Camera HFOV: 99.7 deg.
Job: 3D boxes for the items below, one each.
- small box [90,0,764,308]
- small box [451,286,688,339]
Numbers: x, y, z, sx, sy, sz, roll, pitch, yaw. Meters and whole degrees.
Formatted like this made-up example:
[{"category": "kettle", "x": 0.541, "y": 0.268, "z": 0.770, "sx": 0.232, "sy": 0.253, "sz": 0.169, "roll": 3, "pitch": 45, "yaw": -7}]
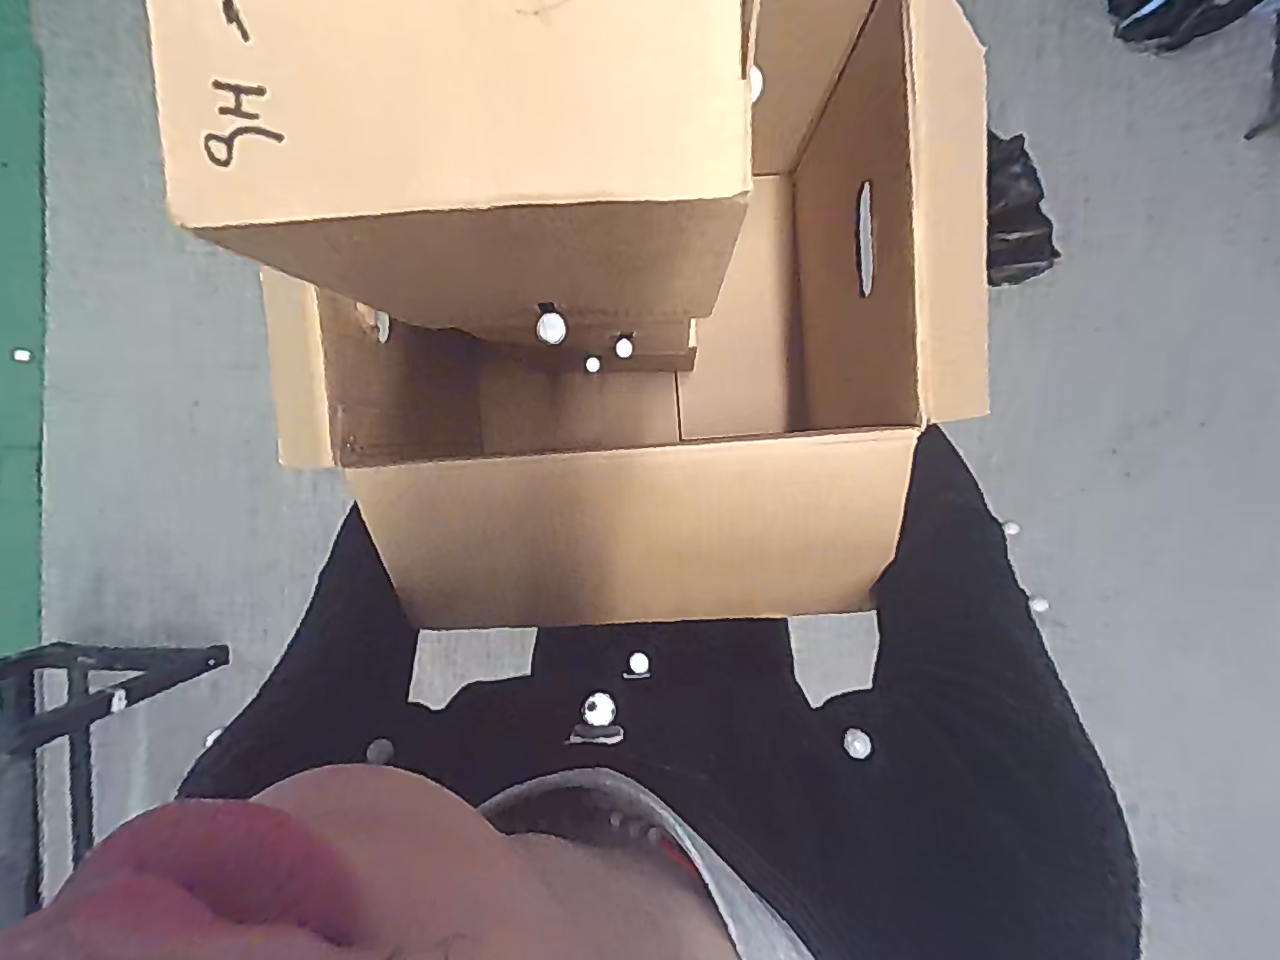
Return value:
[{"category": "small box", "x": -0.054, "y": -0.168, "z": 0.212, "sx": 0.179, "sy": 0.176, "sz": 0.168, "roll": -1, "pitch": 96, "yaw": 3}, {"category": "small box", "x": -0.046, "y": -0.198, "z": 0.373, "sx": 0.168, "sy": 0.176, "sz": 0.179, "roll": 3, "pitch": 96, "yaw": 3}]
